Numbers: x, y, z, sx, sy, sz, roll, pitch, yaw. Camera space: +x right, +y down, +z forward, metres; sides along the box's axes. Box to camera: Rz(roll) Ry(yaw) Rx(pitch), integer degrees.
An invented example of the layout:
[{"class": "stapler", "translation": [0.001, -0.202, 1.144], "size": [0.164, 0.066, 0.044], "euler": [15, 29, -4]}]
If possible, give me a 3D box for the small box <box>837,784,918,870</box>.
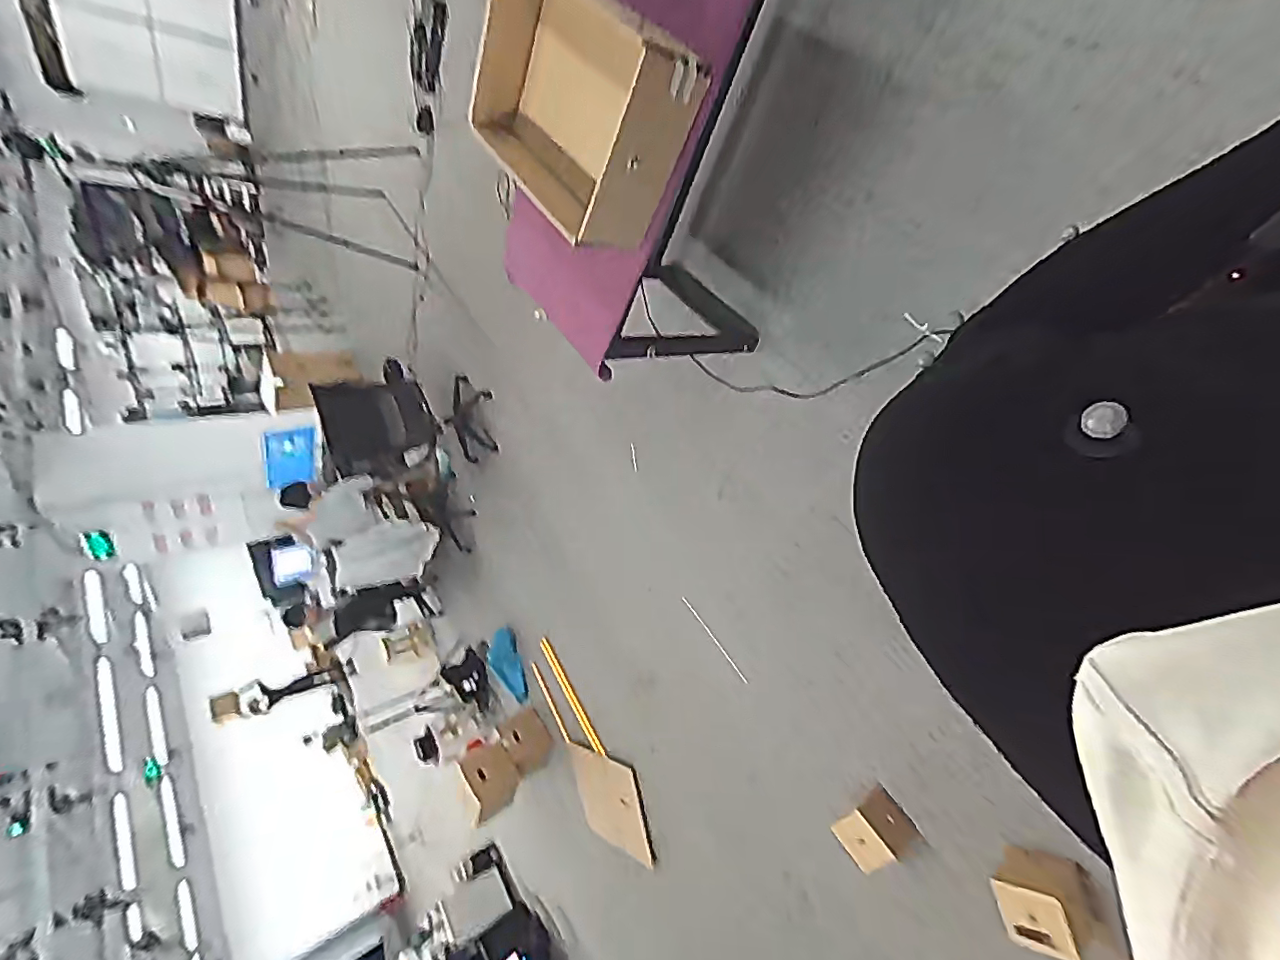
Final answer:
[{"class": "small box", "translation": [0.829, 1.197, 1.874], "size": [0.168, 0.176, 0.179], "euler": [50, 134, 30]}]
